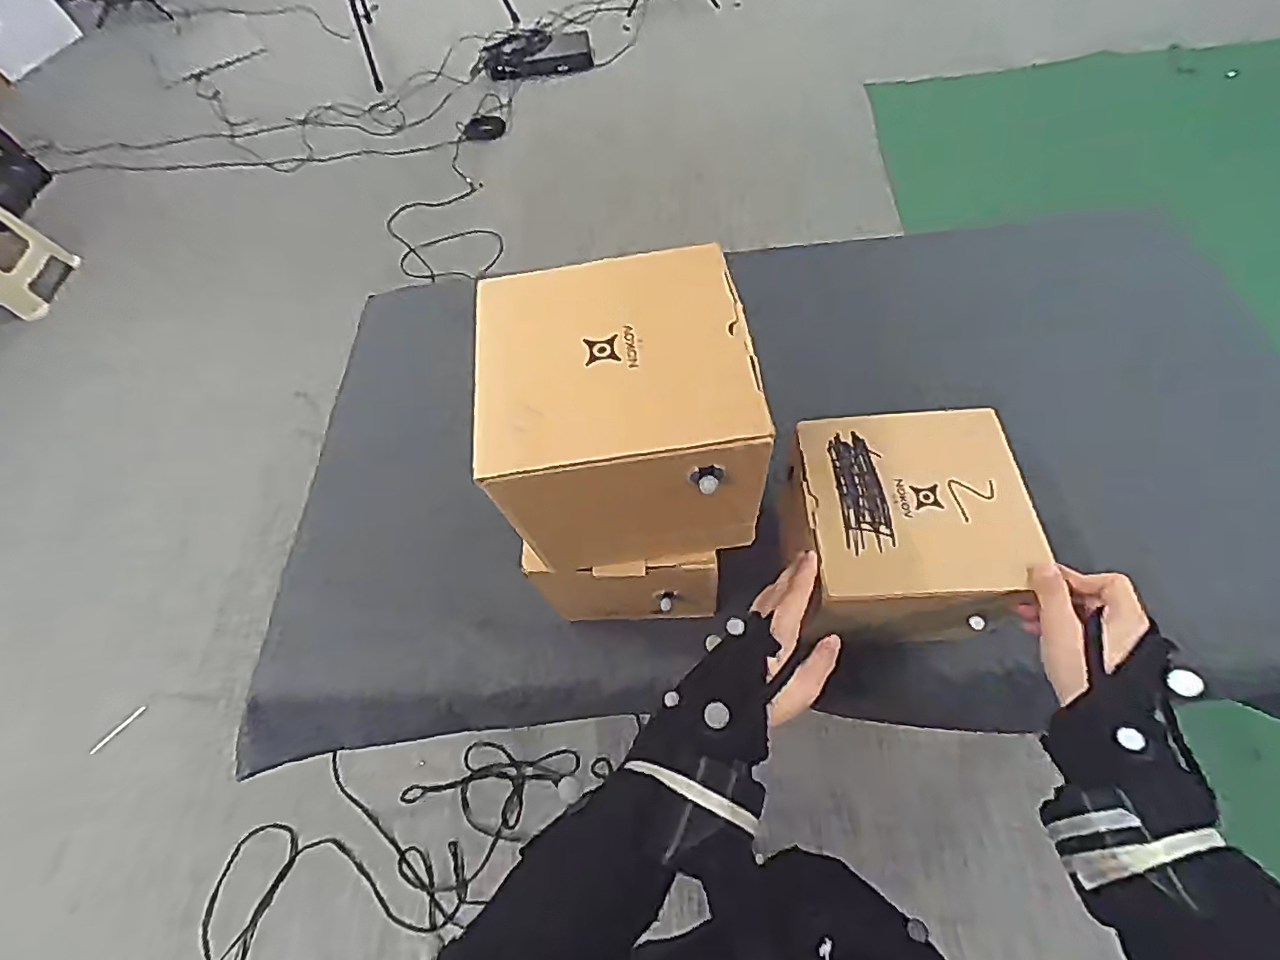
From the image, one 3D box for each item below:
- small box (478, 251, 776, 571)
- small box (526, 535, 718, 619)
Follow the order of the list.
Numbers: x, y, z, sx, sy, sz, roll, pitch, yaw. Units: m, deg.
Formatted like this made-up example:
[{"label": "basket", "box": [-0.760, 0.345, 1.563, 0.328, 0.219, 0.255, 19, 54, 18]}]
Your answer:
[{"label": "small box", "box": [-0.008, -0.041, 0.414, 0.179, 0.176, 0.168, -8, 61, 1]}, {"label": "small box", "box": [-0.007, 0.040, 0.556, 0.168, 0.176, 0.179, -3, 60, 5]}]
